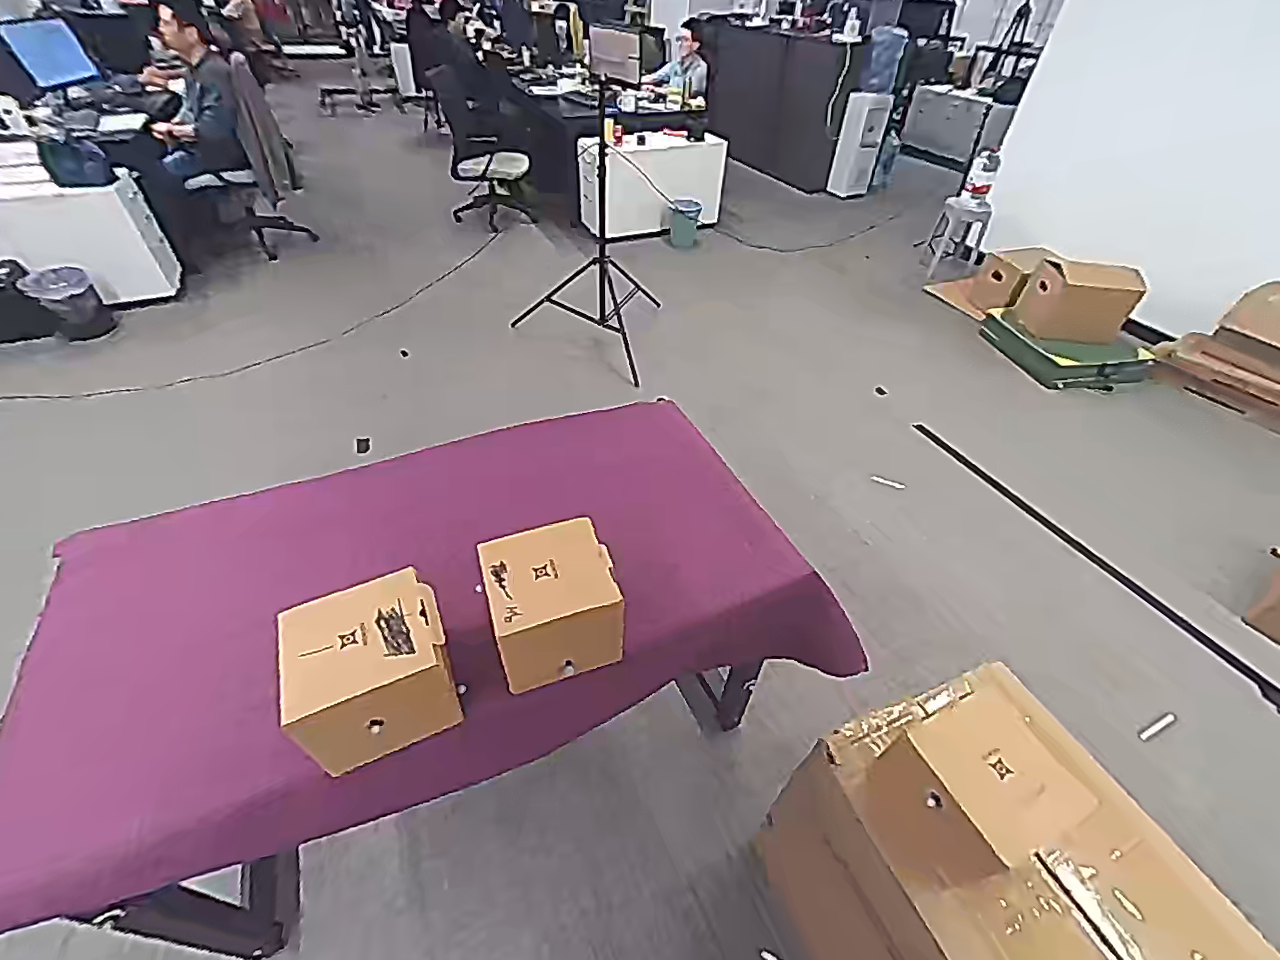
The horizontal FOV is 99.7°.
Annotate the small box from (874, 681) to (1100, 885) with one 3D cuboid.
[{"bbox_3d":[0.466,0.425,0.761,0.168,0.176,0.179,-18,49,-17],"label":"small box"}]

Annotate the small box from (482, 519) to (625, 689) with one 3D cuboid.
[{"bbox_3d":[-0.132,0.189,0.829,0.179,0.176,0.168,-13,45,-17],"label":"small box"}]

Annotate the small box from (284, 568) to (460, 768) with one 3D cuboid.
[{"bbox_3d":[-0.359,0.257,0.744,0.179,0.176,0.168,-18,46,-19],"label":"small box"}]
